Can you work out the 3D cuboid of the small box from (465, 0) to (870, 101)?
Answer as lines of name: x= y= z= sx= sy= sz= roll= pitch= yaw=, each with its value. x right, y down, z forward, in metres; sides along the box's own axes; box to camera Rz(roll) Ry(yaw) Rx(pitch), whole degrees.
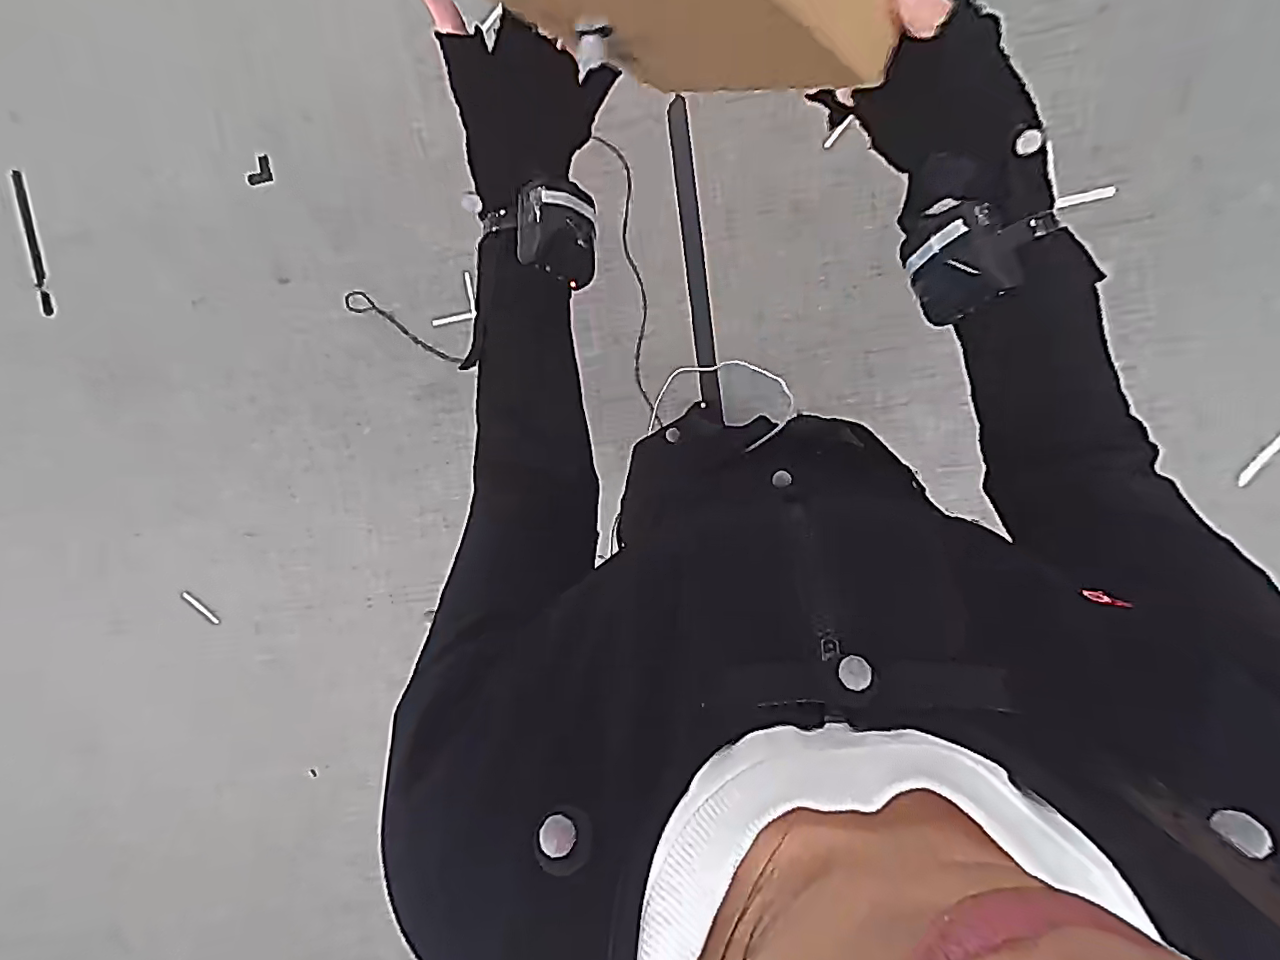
small box: x=0.019 y=-0.320 z=0.273 sx=0.176 sy=0.168 sz=0.179 roll=33 pitch=120 yaw=39
